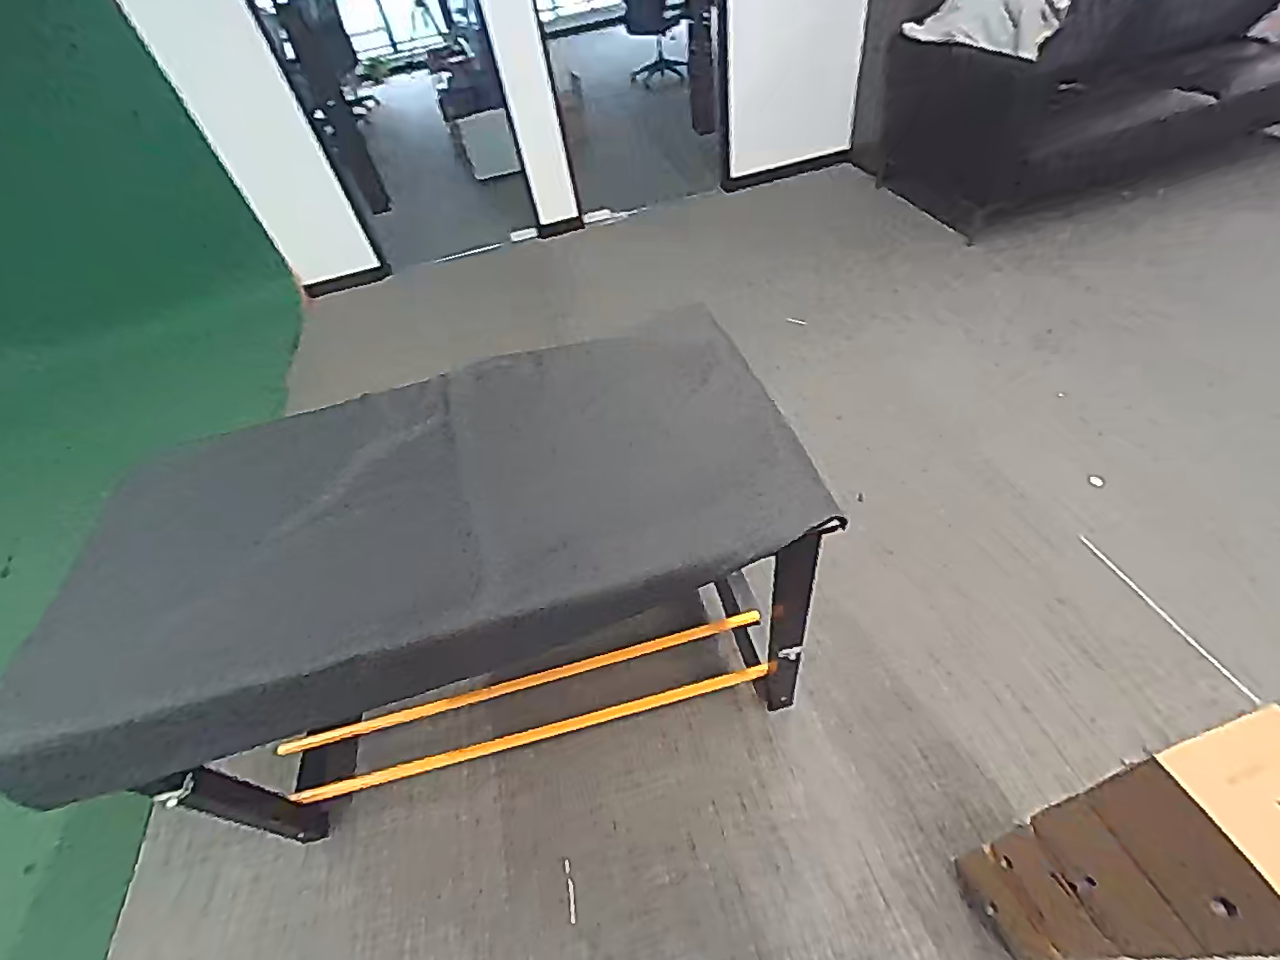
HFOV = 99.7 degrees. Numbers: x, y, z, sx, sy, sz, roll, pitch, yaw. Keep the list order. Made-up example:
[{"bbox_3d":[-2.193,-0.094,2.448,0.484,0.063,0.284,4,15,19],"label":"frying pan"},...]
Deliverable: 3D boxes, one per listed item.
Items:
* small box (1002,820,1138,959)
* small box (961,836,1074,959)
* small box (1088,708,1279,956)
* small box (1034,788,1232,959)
[{"bbox_3d":[0.702,0.607,0.835,0.179,0.176,0.168,-18,48,-7],"label":"small box"},{"bbox_3d":[0.713,0.720,0.954,0.179,0.176,0.168,-20,47,-7],"label":"small box"},{"bbox_3d":[0.665,0.389,0.595,0.168,0.176,0.179,-18,47,-7],"label":"small box"},{"bbox_3d":[0.684,0.497,0.716,0.168,0.176,0.179,-18,48,-6],"label":"small box"}]
